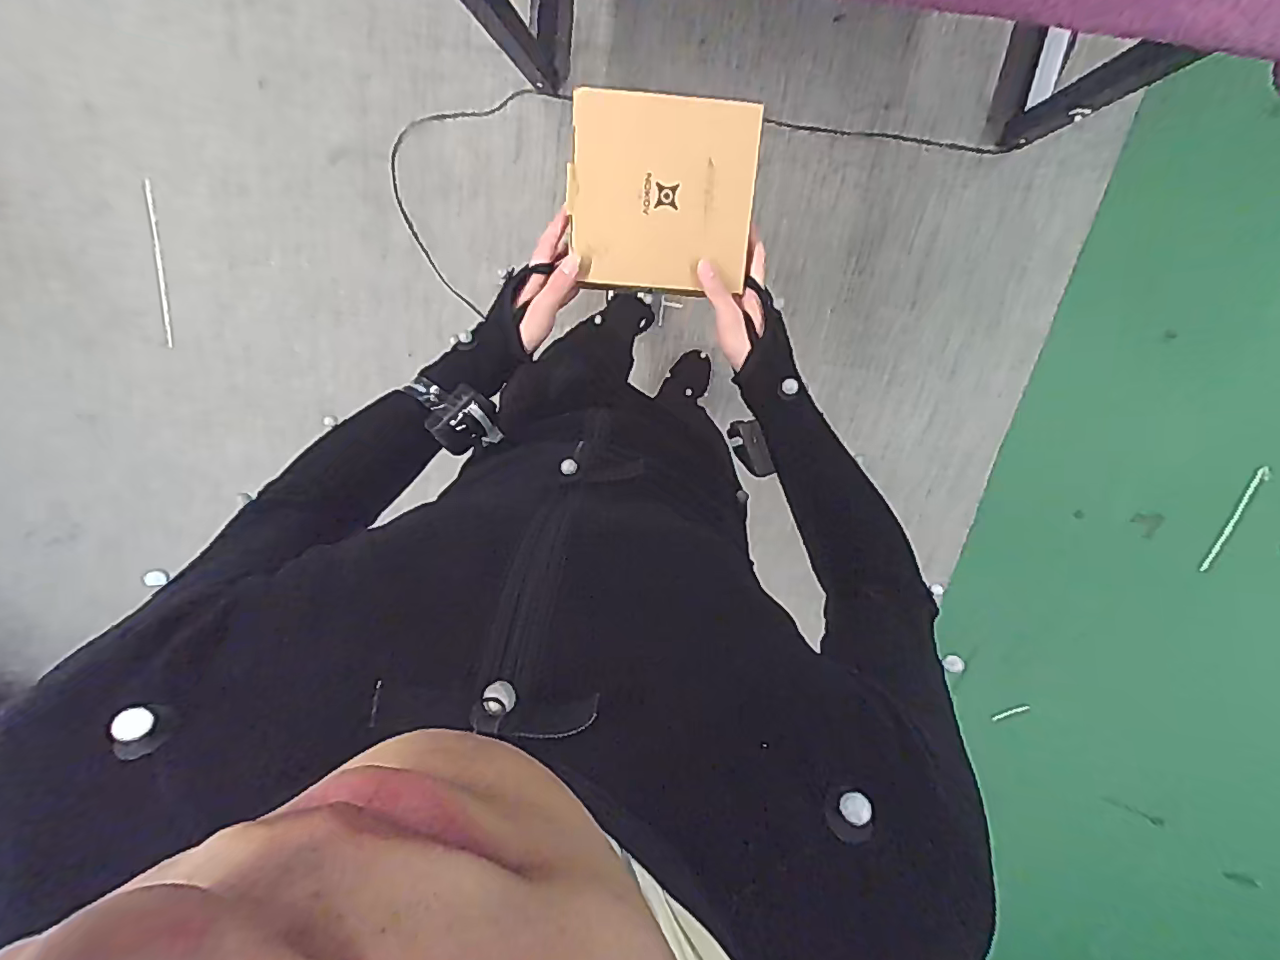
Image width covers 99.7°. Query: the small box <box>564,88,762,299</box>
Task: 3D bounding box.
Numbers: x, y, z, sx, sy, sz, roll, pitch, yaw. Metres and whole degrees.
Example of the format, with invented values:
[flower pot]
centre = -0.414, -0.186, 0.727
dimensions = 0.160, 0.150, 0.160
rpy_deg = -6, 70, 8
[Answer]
[small box]
centre = 0.017, -0.291, 0.586
dimensions = 0.179, 0.176, 0.168
rpy_deg = 4, 107, -3
